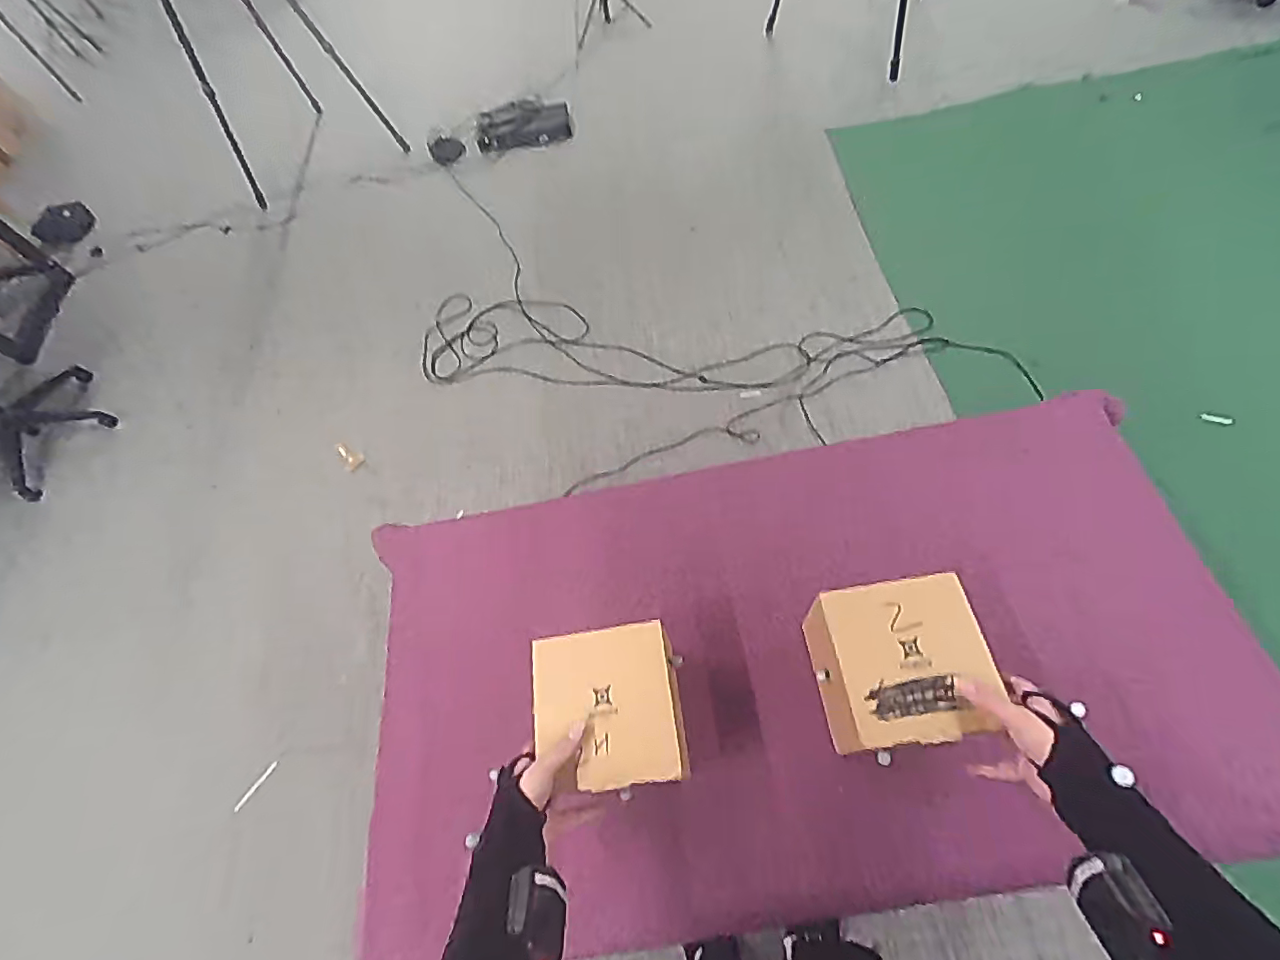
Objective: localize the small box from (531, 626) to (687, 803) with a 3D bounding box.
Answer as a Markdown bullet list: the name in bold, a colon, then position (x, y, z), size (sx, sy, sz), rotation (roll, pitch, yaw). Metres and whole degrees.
- **small box**: position (-0.035, 0.302, 0.691), size (0.168, 0.176, 0.179), rotation (-10, 61, 4)
